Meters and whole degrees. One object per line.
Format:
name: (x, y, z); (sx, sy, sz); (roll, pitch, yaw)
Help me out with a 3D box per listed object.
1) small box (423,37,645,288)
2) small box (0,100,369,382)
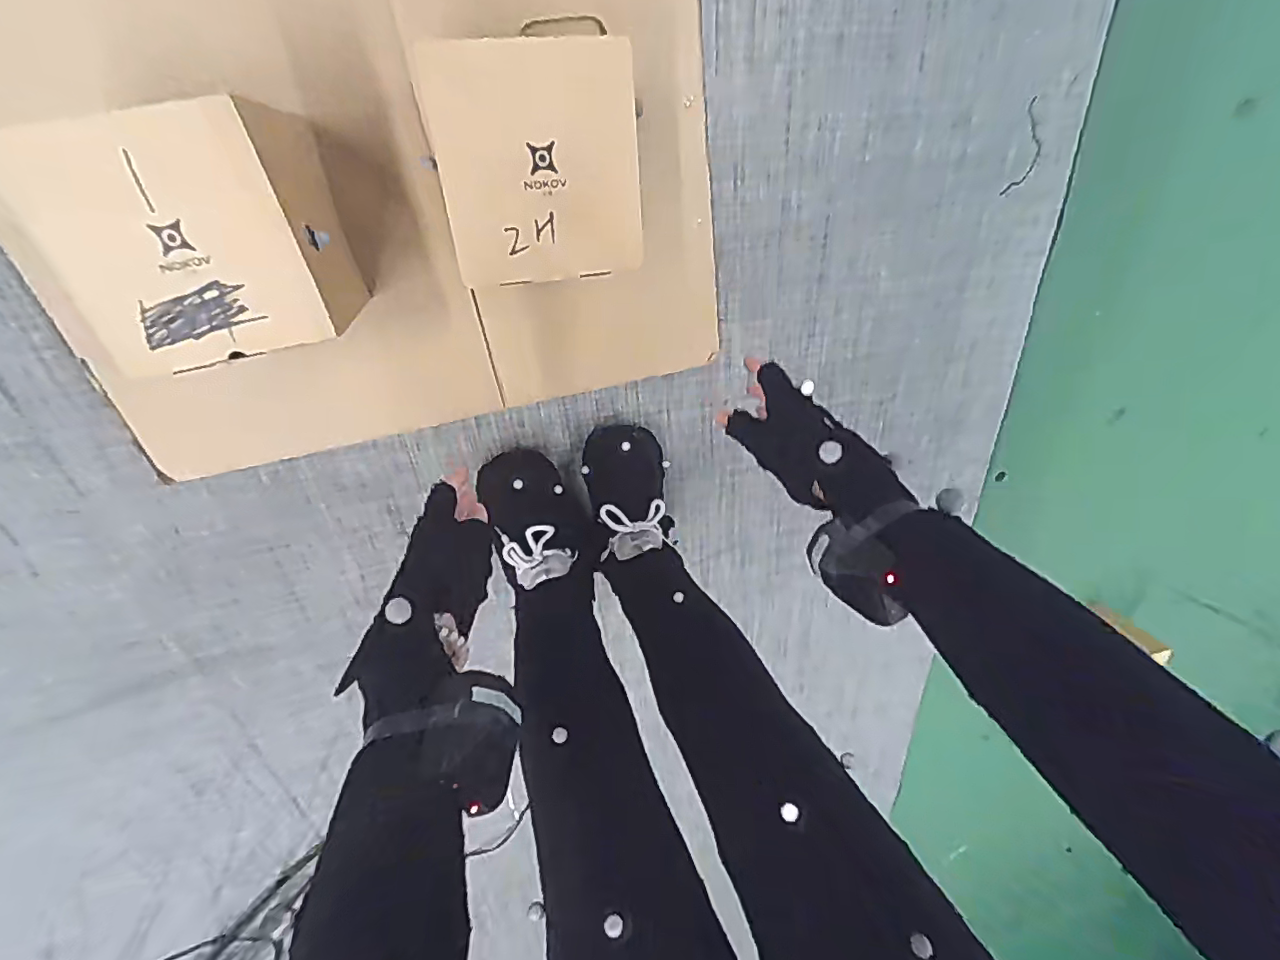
small box: (-0.098, -0.293, 0.516); (0.168, 0.176, 0.179); (-10, 121, -11)
small box: (-0.362, -0.210, 0.475); (0.168, 0.176, 0.179); (-16, 121, -8)
